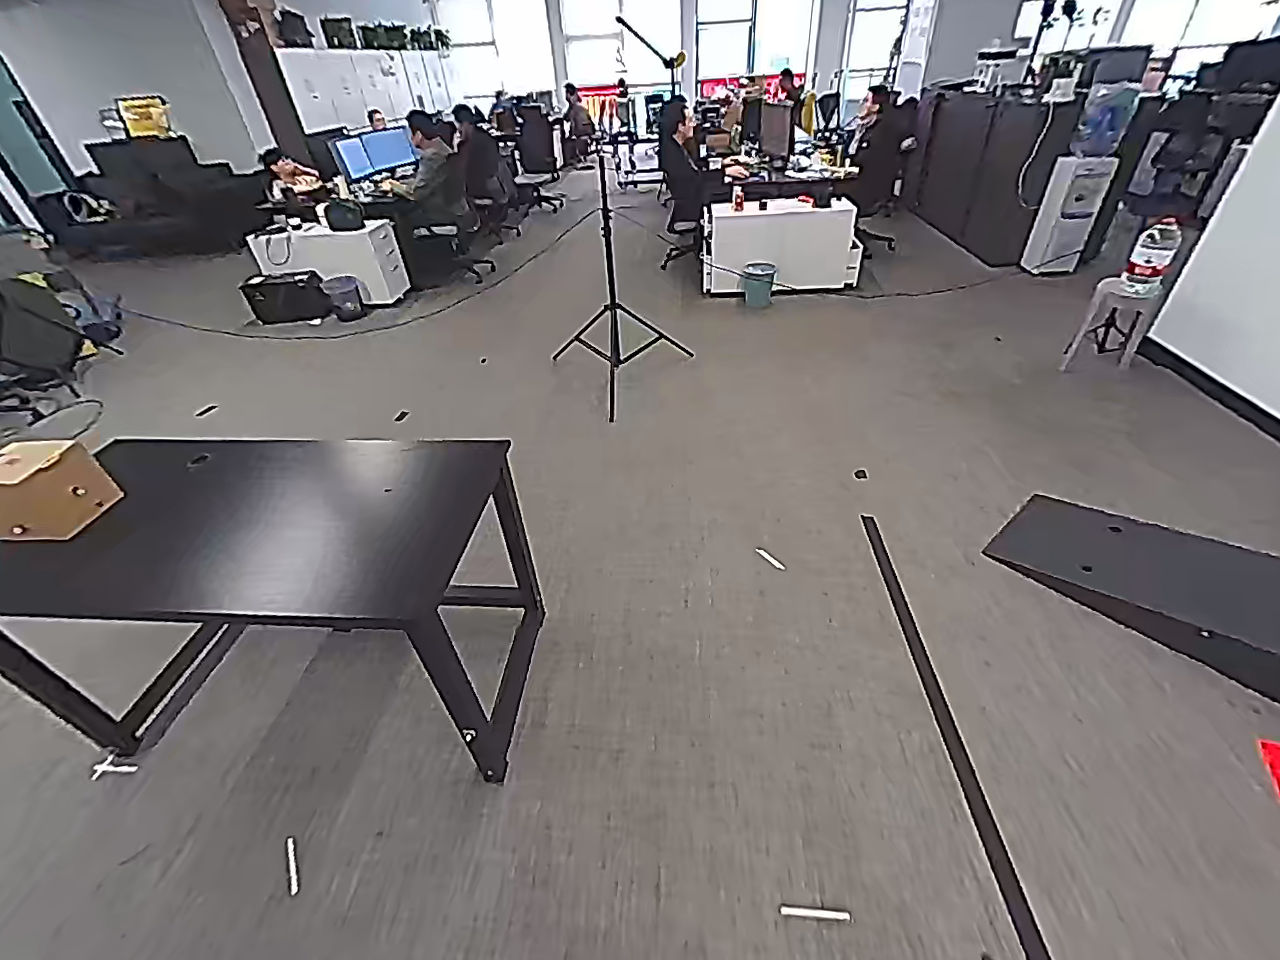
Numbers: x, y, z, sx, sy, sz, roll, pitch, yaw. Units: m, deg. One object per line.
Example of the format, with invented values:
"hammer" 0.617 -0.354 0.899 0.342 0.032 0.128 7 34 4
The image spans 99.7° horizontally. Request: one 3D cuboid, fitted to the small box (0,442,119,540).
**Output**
"small box" -1.403 0.027 1.267 0.179 0.176 0.168 0 37 3
